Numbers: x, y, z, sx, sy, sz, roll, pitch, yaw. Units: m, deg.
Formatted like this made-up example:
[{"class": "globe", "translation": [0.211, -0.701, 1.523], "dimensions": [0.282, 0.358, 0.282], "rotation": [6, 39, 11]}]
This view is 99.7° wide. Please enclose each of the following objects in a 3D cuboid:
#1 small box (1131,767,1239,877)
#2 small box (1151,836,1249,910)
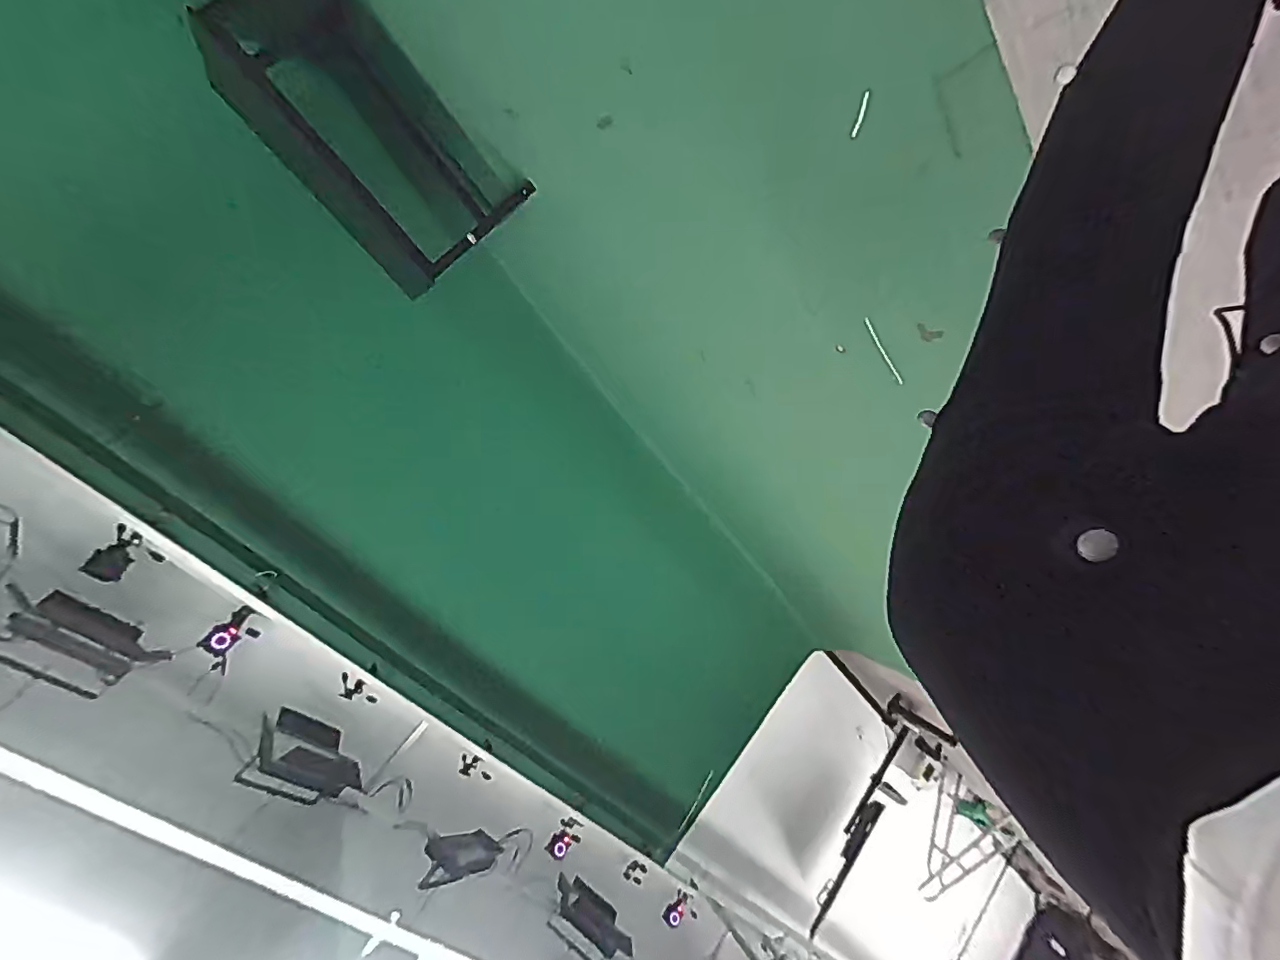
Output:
[{"class": "small box", "translation": [1.536, 0.953, 1.521], "dimensions": [0.179, 0.176, 0.168], "rotation": [46, 162, -24]}, {"class": "small box", "translation": [1.722, 1.153, 1.658], "dimensions": [0.179, 0.176, 0.168], "rotation": [47, 162, -25]}]
